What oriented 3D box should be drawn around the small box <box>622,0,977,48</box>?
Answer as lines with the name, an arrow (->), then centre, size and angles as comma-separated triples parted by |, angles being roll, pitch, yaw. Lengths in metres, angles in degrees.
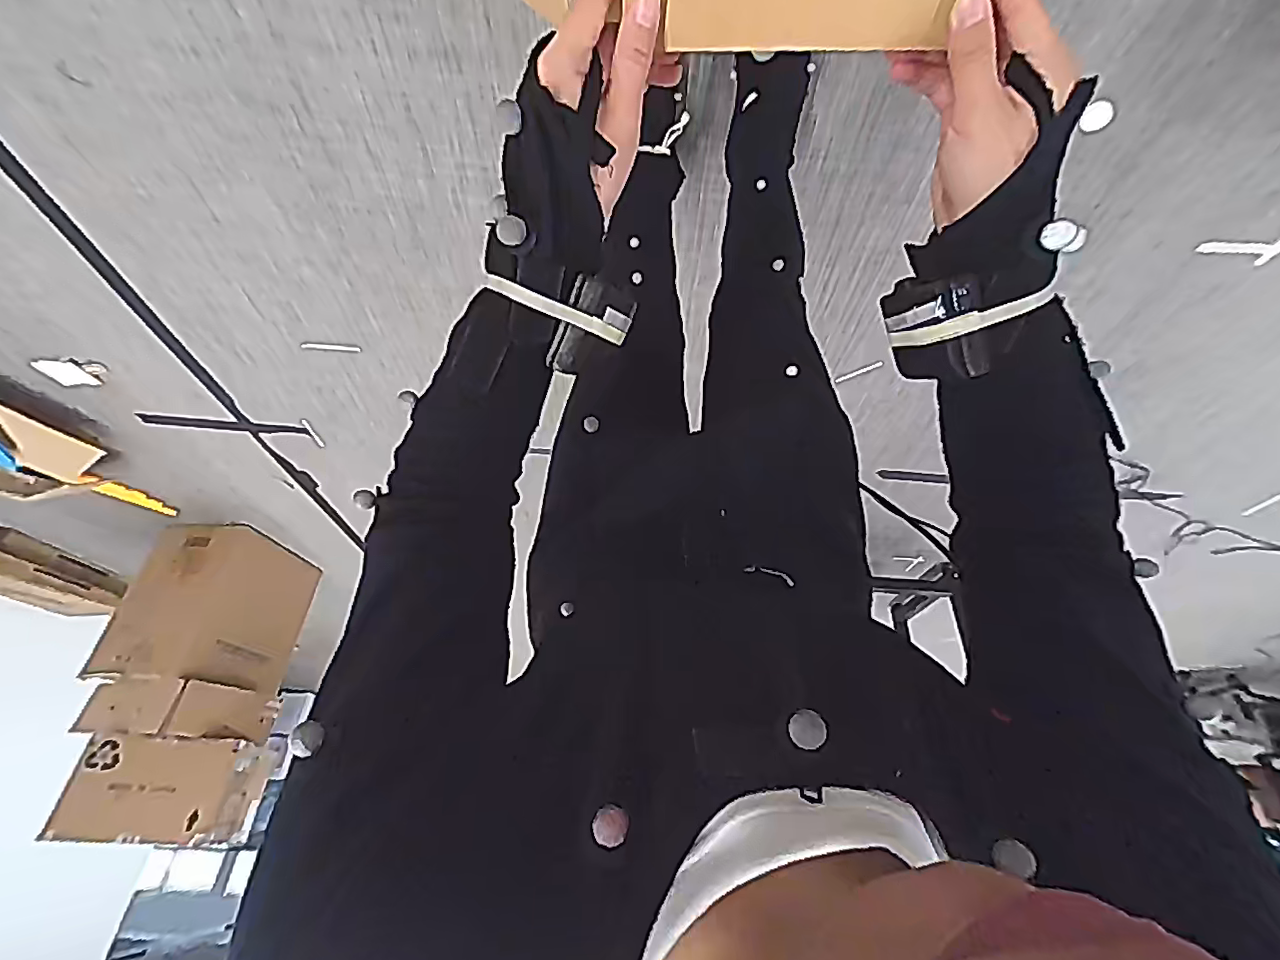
small box -> 0.079, -0.336, 0.253 | 0.179, 0.176, 0.168 | 1, 148, 2

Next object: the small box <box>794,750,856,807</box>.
small box -> 0.687, 1.126, 2.035 | 0.168, 0.176, 0.179 | 5, 147, -4
